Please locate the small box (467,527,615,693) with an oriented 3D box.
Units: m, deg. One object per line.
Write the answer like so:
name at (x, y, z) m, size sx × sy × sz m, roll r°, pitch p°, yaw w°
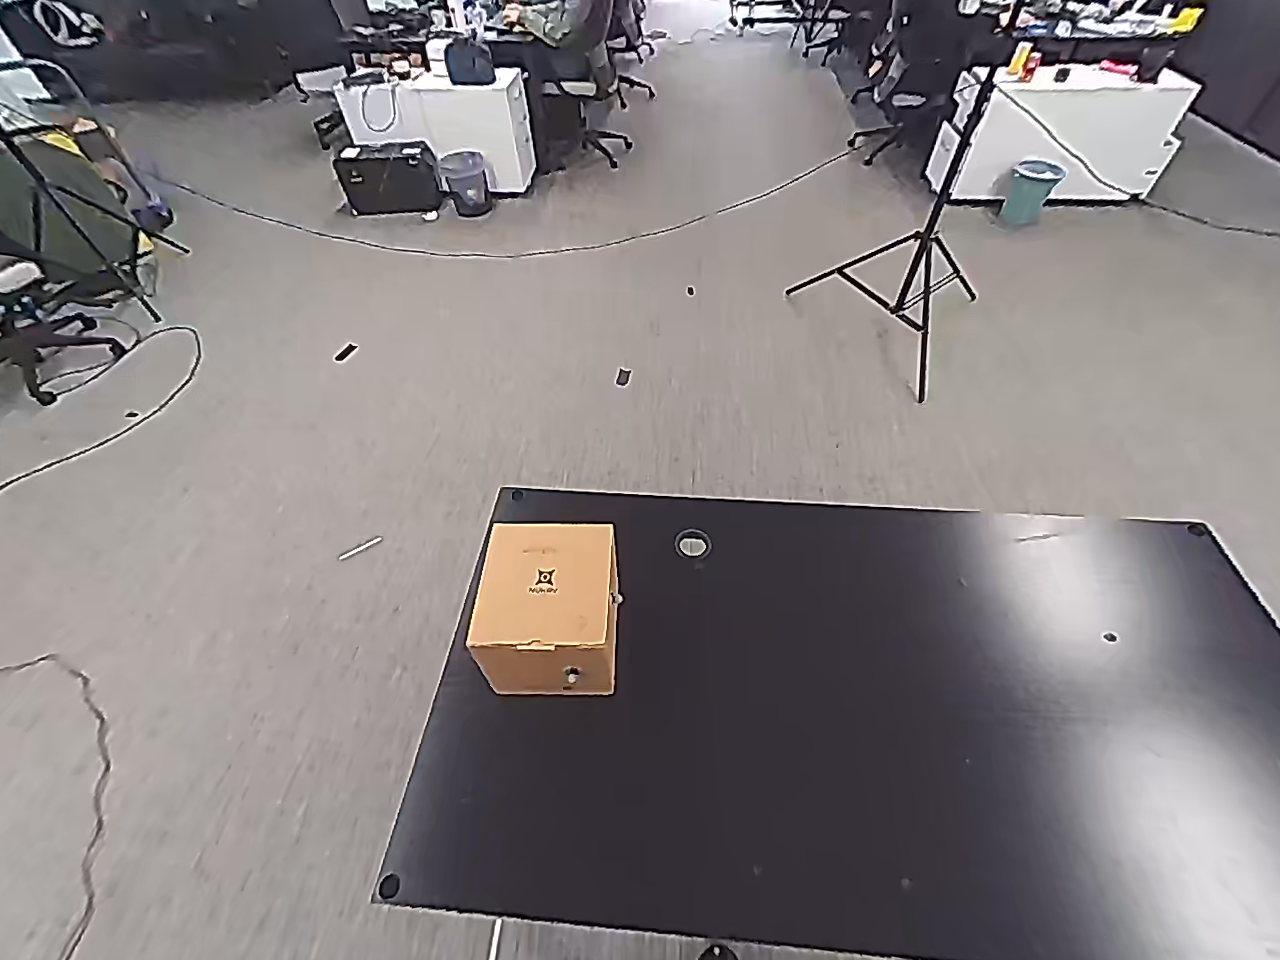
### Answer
small box at (-0.122, 0.184, 0.749) m, size 0.168 × 0.176 × 0.179 m, roll 0°, pitch 49°, yaw 0°
